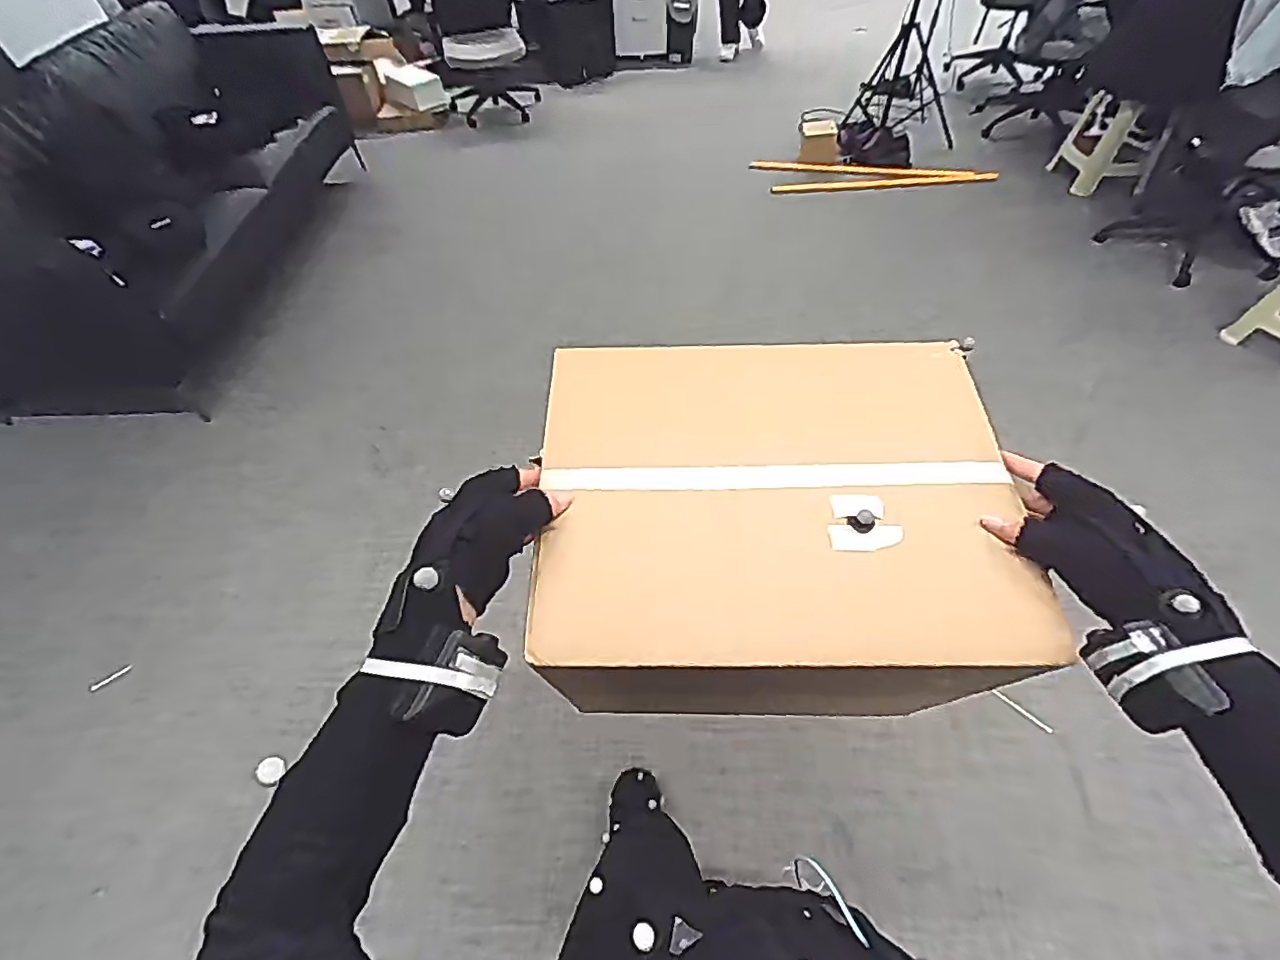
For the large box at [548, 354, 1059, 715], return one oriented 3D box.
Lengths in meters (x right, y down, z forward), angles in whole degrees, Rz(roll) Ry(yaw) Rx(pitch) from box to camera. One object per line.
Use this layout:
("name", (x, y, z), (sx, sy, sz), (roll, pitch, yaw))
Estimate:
("large box", (0.124, 0.079, 0.617), (0.408, 0.320, 0.320), (-1, 61, 1))
